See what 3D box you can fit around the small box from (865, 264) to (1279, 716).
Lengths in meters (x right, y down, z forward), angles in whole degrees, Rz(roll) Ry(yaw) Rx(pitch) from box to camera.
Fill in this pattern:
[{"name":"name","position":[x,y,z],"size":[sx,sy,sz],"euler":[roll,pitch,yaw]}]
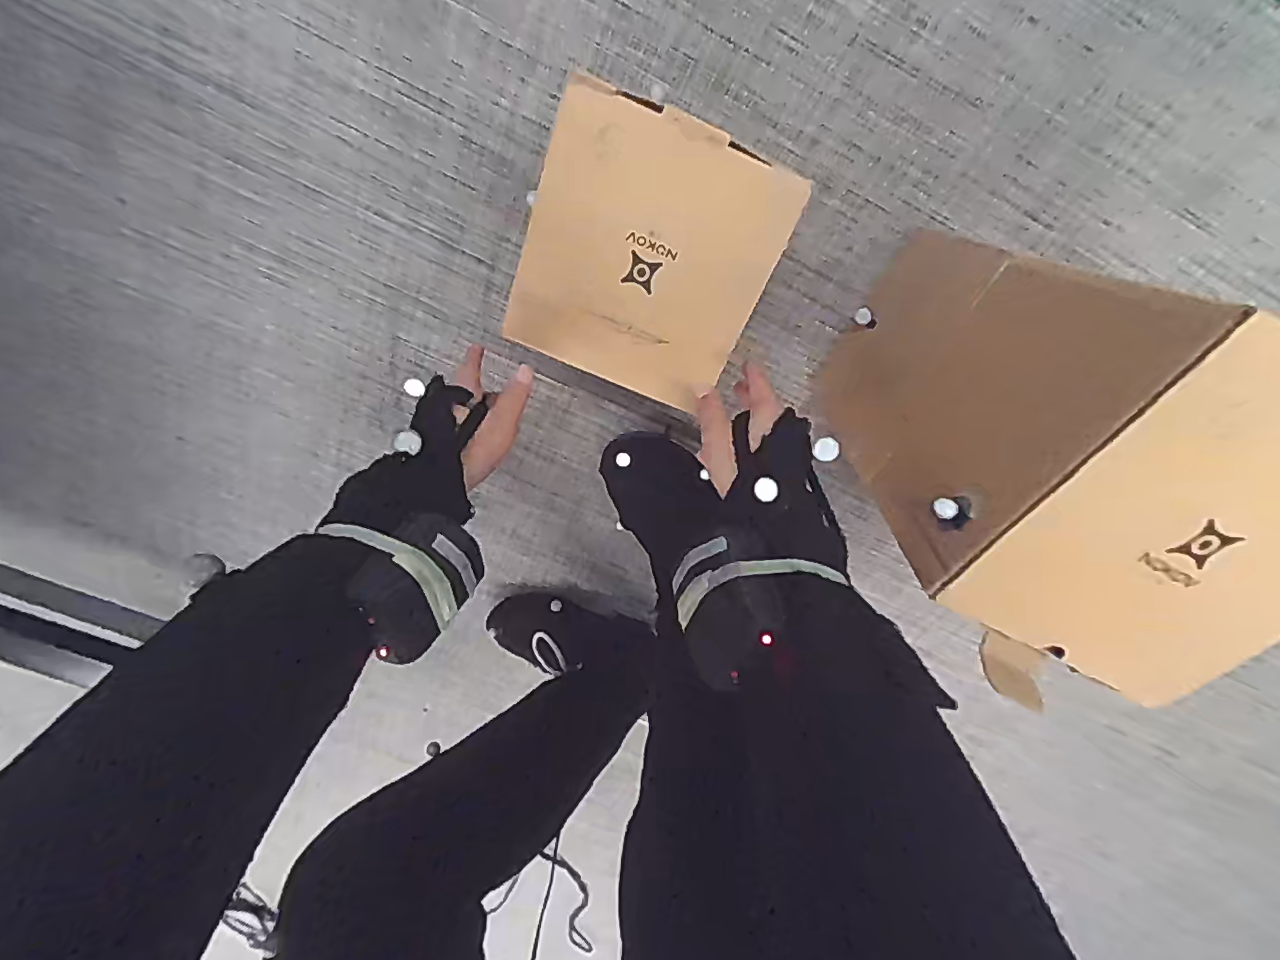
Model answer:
[{"name":"small box","position":[0.268,-0.005,0.322],"size":[0.168,0.176,0.179],"euler":[26,118,-10]}]

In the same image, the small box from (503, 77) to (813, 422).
[{"name":"small box","position":[0.010,-0.181,0.437],"size":[0.168,0.176,0.179],"euler":[22,120,-5]}]

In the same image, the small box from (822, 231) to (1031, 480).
[{"name":"small box","position":[0.278,-0.085,0.465],"size":[0.168,0.176,0.179],"euler":[25,120,-10]}]
